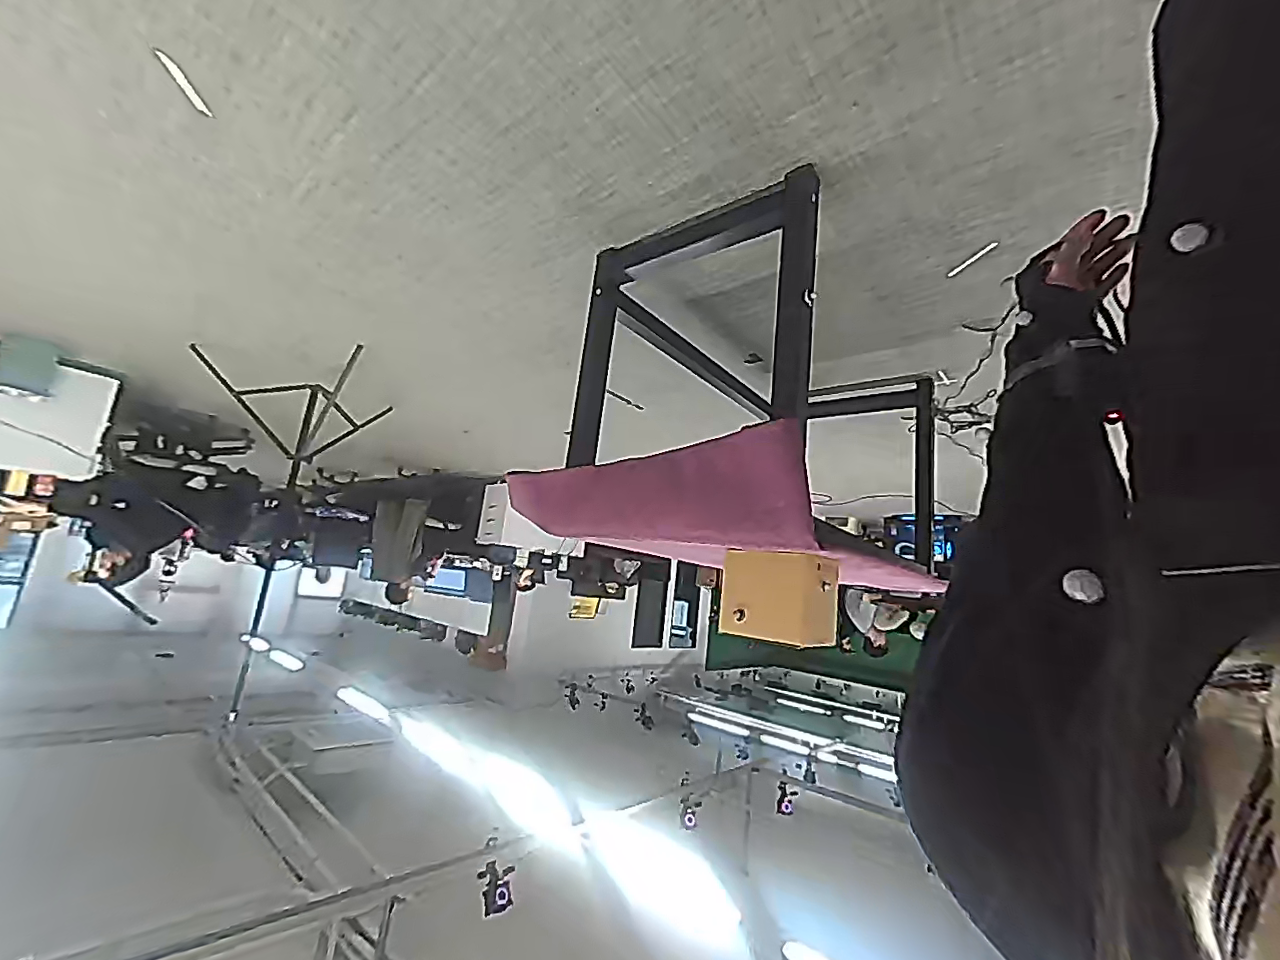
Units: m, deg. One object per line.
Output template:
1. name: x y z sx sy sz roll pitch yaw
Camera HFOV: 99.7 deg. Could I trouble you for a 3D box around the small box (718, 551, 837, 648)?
1. small box: 0.277 0.232 1.073 0.179 0.176 0.168 -3 167 41
